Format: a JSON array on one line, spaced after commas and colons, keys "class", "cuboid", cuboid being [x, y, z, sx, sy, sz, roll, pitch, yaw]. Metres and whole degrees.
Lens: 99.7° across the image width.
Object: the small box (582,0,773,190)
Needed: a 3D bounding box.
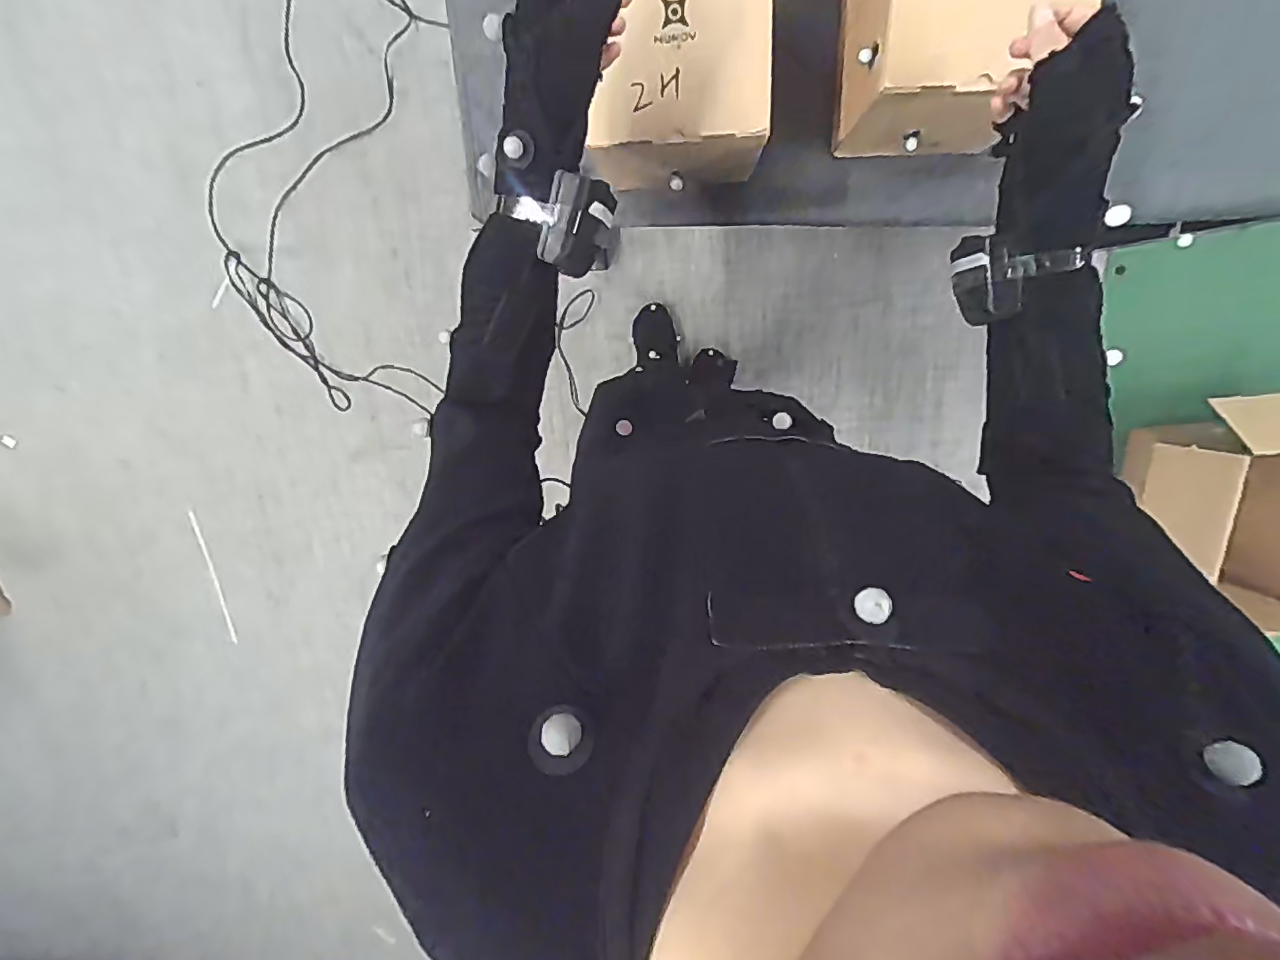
[{"class": "small box", "cuboid": [0.037, -0.410, 0.540, 0.168, 0.176, 0.179, -1, 106, 5]}]
